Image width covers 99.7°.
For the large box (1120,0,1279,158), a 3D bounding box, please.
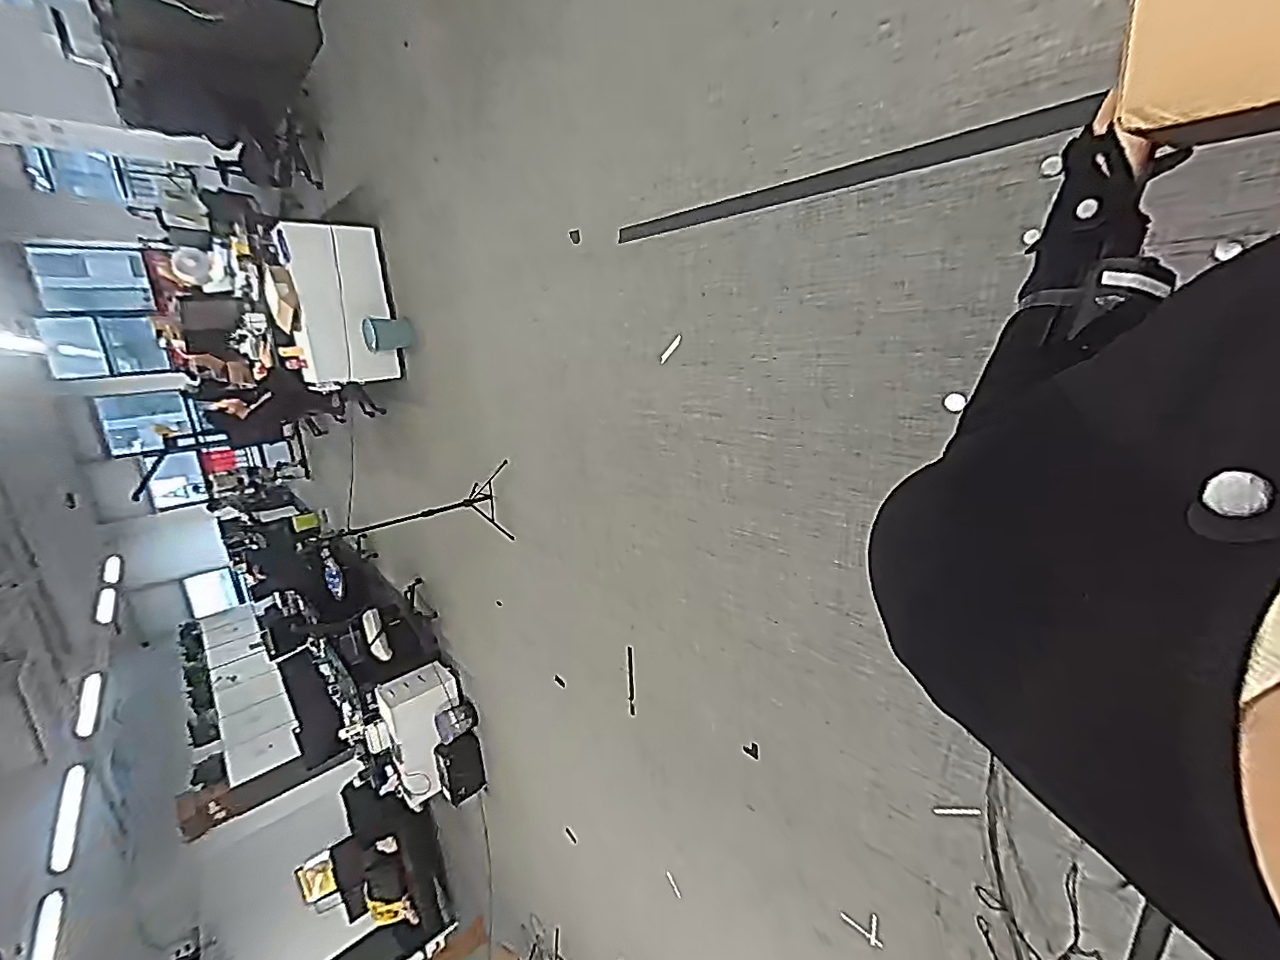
[{"bbox_3d":[0.439,-0.324,0.160,0.408,0.320,0.320,11,120,43],"label":"large box"}]
